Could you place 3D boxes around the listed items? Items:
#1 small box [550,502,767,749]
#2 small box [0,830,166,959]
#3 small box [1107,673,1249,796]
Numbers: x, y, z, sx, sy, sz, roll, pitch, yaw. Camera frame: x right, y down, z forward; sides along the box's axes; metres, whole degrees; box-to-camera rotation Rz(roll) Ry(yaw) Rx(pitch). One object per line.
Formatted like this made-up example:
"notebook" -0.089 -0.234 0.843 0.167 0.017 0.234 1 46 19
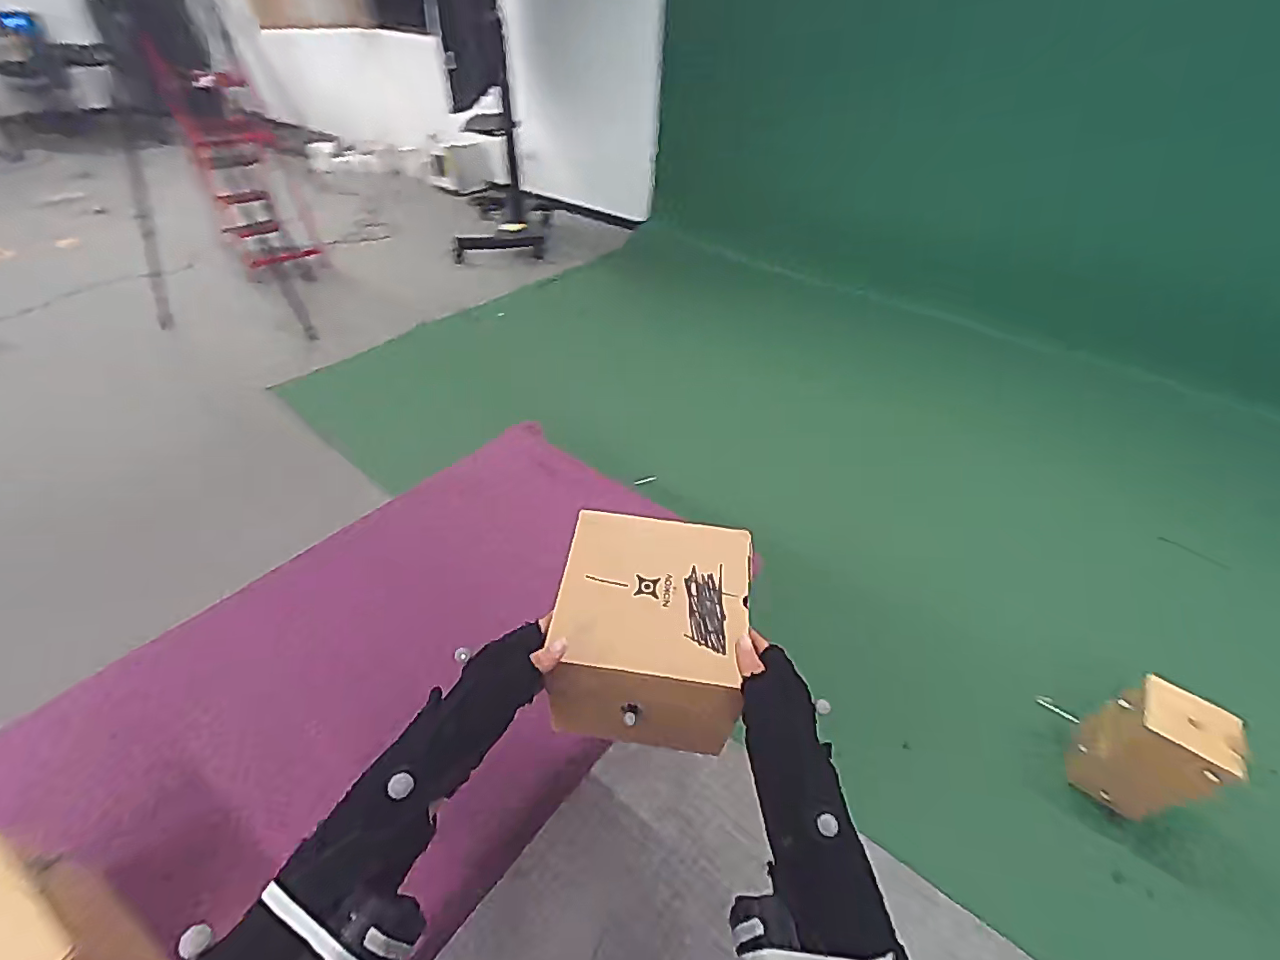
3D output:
"small box" 0.021 0.150 0.548 0.179 0.176 0.168 10 45 6
"small box" -0.583 0.463 0.479 0.179 0.176 0.168 23 47 21
"small box" 1.243 0.597 1.262 0.179 0.176 0.168 29 49 25
